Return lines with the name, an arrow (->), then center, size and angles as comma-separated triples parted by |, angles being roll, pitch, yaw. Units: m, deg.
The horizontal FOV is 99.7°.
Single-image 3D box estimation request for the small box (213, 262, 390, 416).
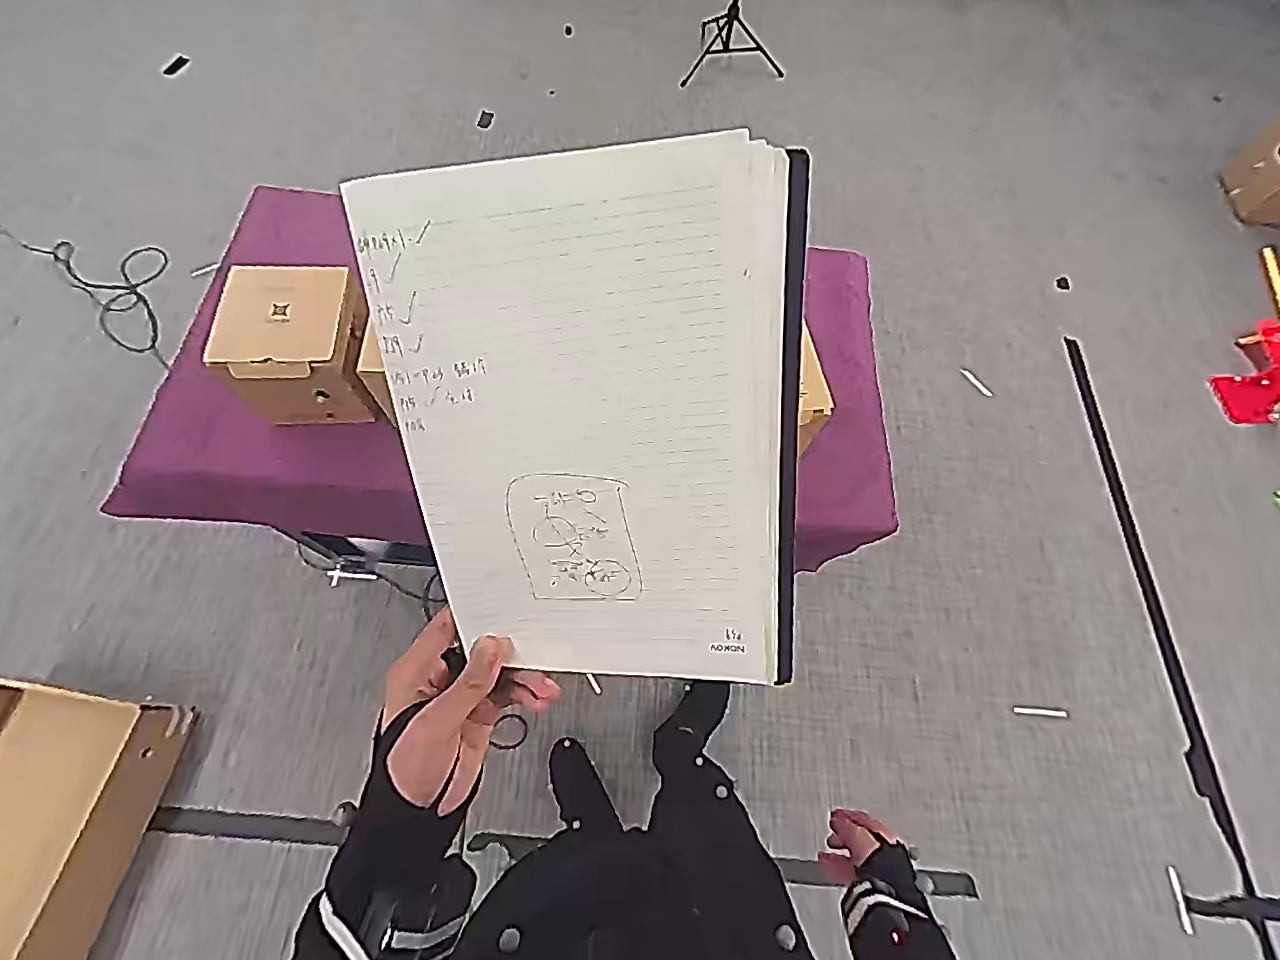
small box -> -0.507, -0.211, 0.841 | 0.168, 0.176, 0.179 | -1, 67, -6
